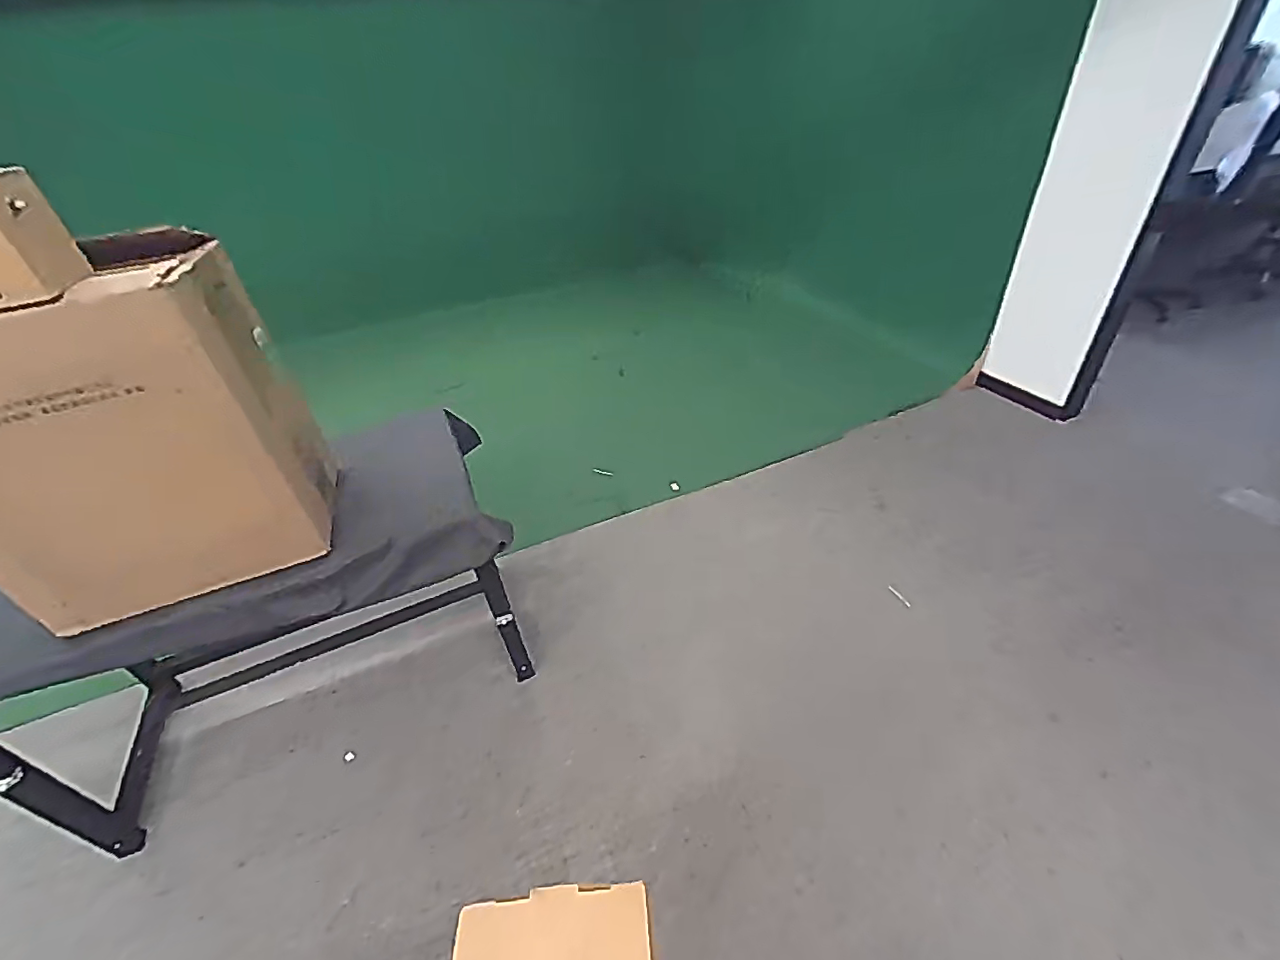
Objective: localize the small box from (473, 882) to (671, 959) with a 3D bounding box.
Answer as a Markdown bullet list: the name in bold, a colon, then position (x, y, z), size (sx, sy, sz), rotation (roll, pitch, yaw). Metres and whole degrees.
- **small box**: position (-0.048, 0.483, 0.454), size (0.168, 0.176, 0.179), rotation (-7, 34, -2)

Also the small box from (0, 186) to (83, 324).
- **small box**: position (-1.035, -0.339, 0.834), size (0.168, 0.176, 0.179), rotation (-18, 37, -16)
